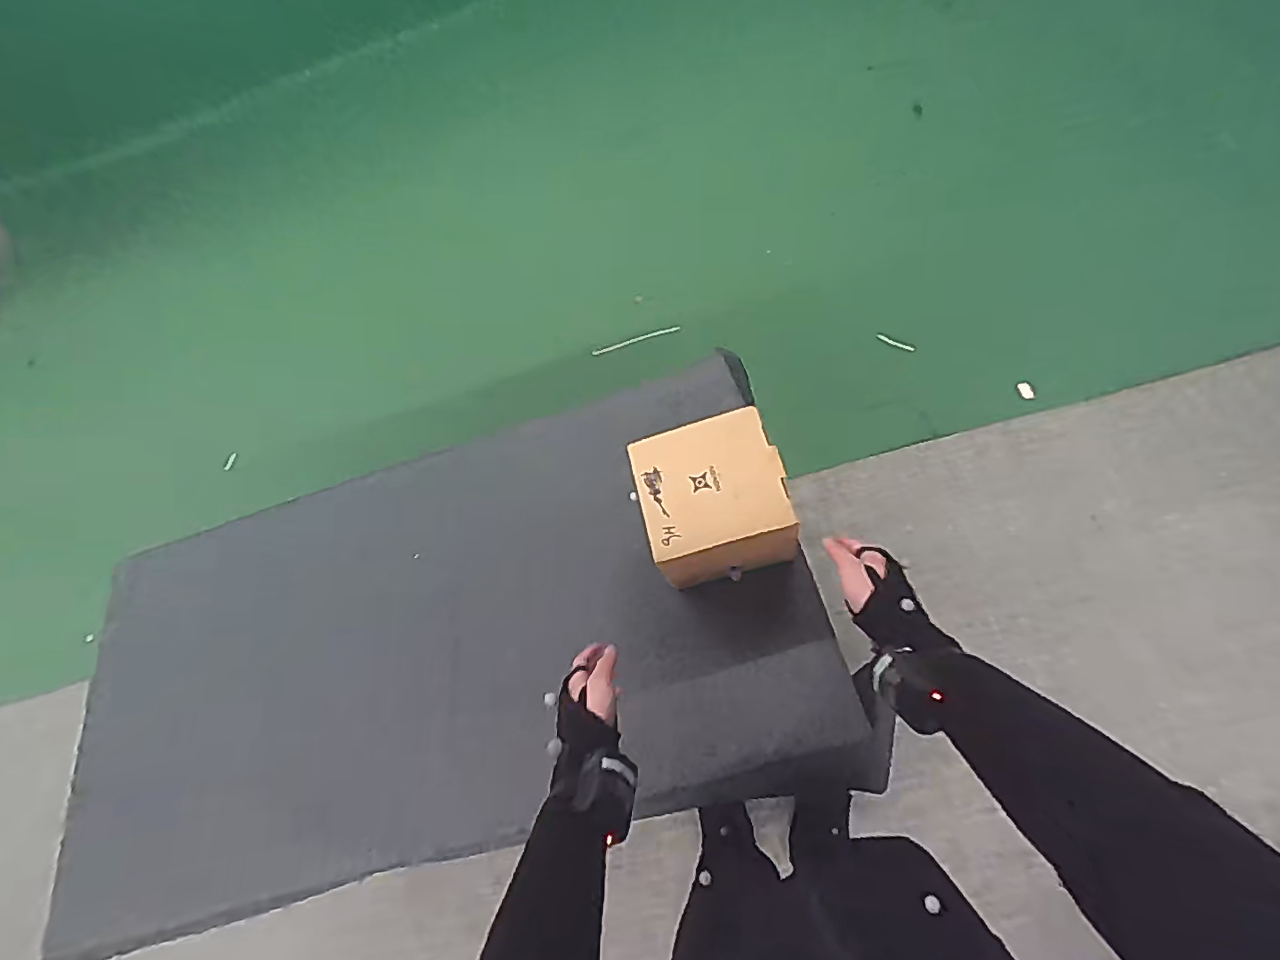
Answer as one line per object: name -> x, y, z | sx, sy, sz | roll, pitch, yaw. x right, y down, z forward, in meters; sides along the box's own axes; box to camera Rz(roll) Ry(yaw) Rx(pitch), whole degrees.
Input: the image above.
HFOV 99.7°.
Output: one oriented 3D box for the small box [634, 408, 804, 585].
small box -> 0.103, 0.031, 0.725 | 0.179, 0.176, 0.168 | -14, 65, 5
